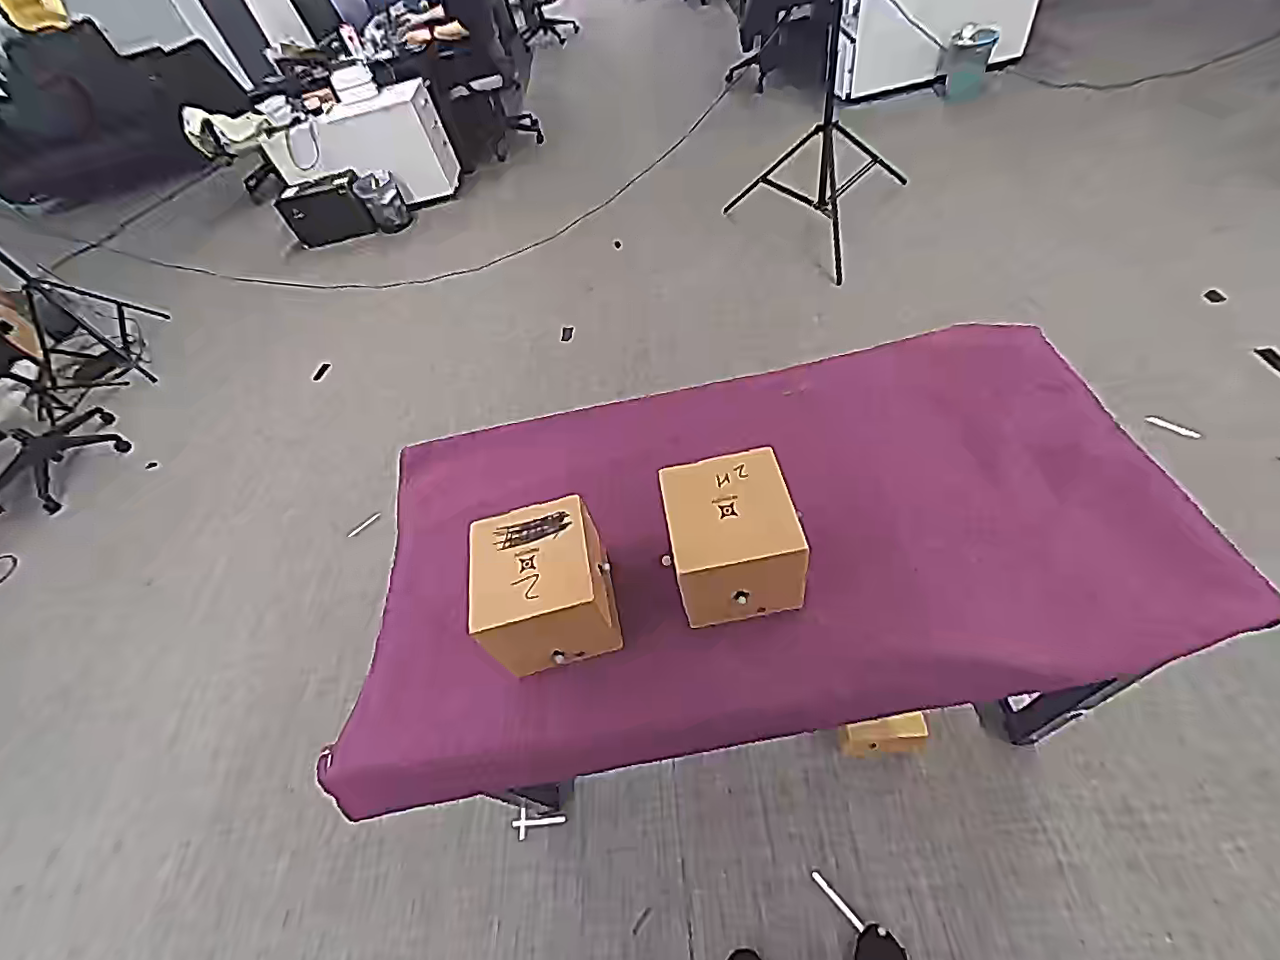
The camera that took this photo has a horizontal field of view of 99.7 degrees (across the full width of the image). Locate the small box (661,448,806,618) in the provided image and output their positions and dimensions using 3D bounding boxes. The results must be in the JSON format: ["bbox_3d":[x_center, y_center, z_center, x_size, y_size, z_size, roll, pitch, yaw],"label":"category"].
[{"bbox_3d":[0.132,0.084,0.780,0.168,0.176,0.179,-11,50,4],"label":"small box"}]

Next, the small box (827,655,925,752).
[{"bbox_3d":[0.546,0.532,1.275,0.168,0.176,0.179,-7,51,8],"label":"small box"}]
